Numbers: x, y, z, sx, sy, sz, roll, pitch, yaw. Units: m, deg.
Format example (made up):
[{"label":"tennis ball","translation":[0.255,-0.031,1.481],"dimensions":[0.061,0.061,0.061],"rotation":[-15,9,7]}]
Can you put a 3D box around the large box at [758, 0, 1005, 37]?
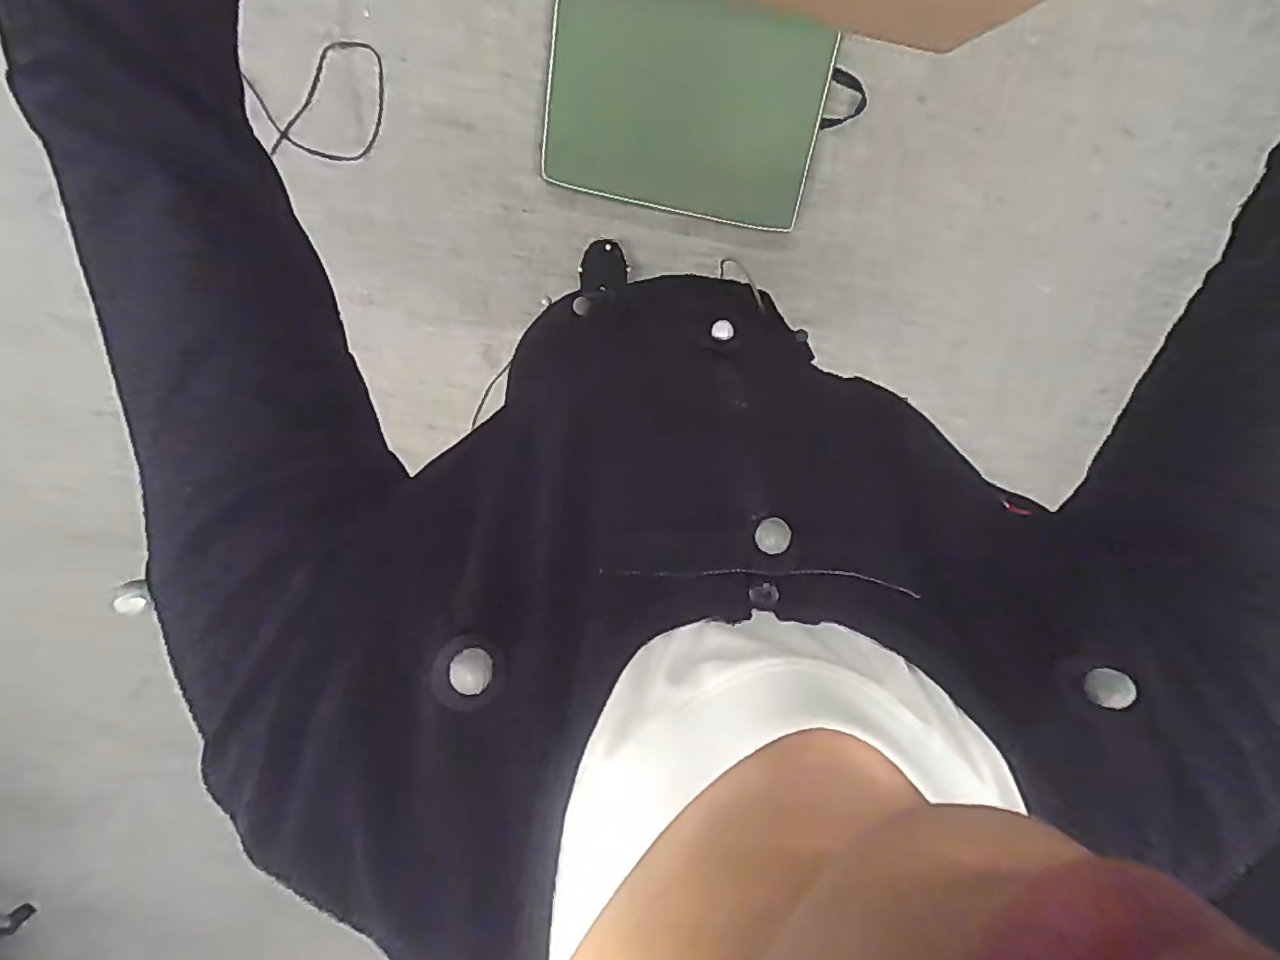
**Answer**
[{"label":"large box","translation":[0.101,-0.479,0.251],"dimensions":[0.408,0.320,0.320],"rotation":[6,114,-7]}]
